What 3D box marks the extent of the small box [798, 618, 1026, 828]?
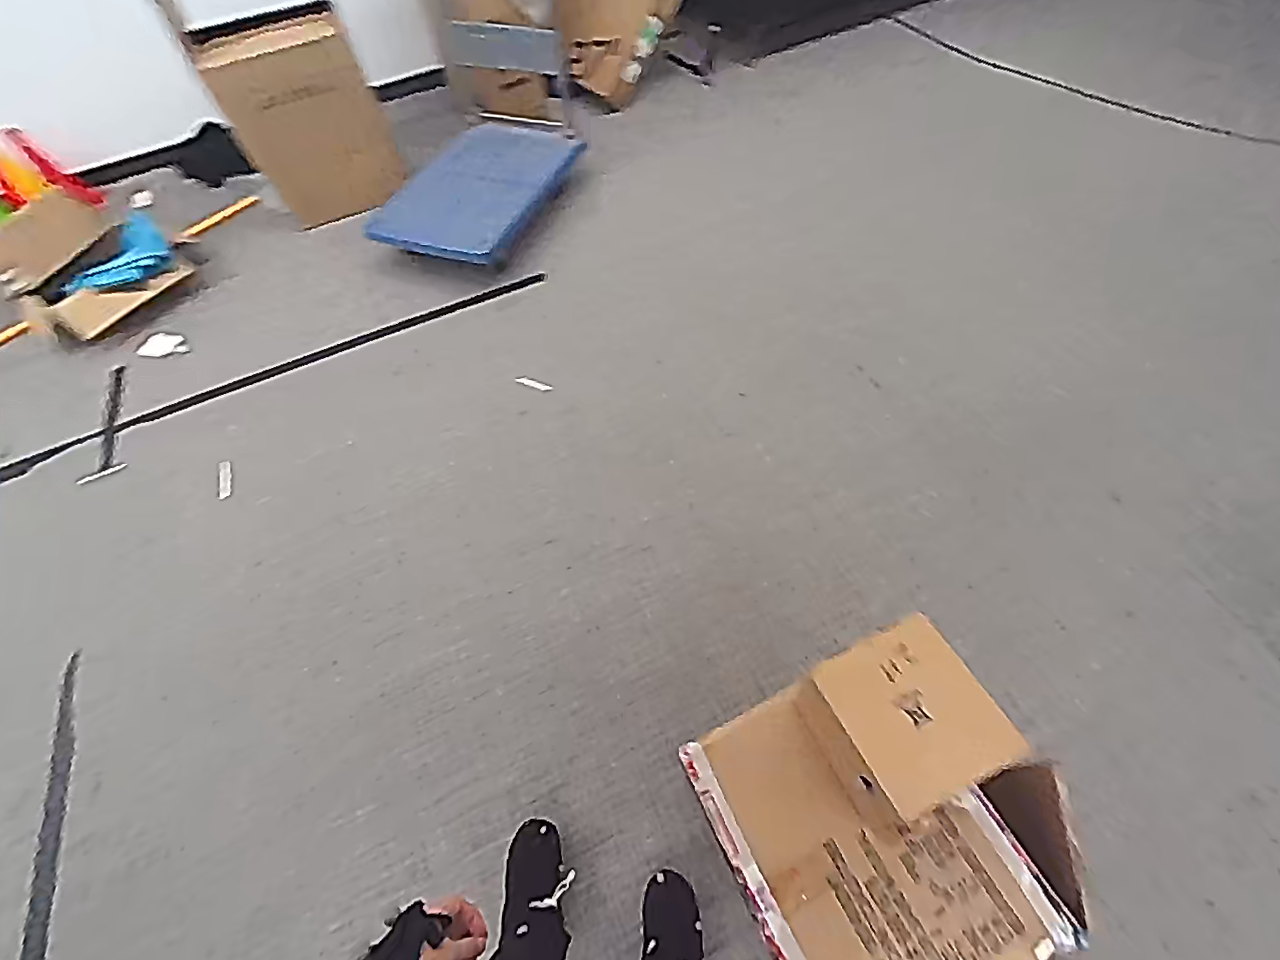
[{"bbox_3d":[0.321,0.309,0.684,0.168,0.176,0.179,-24,56,-8],"label":"small box"}]
